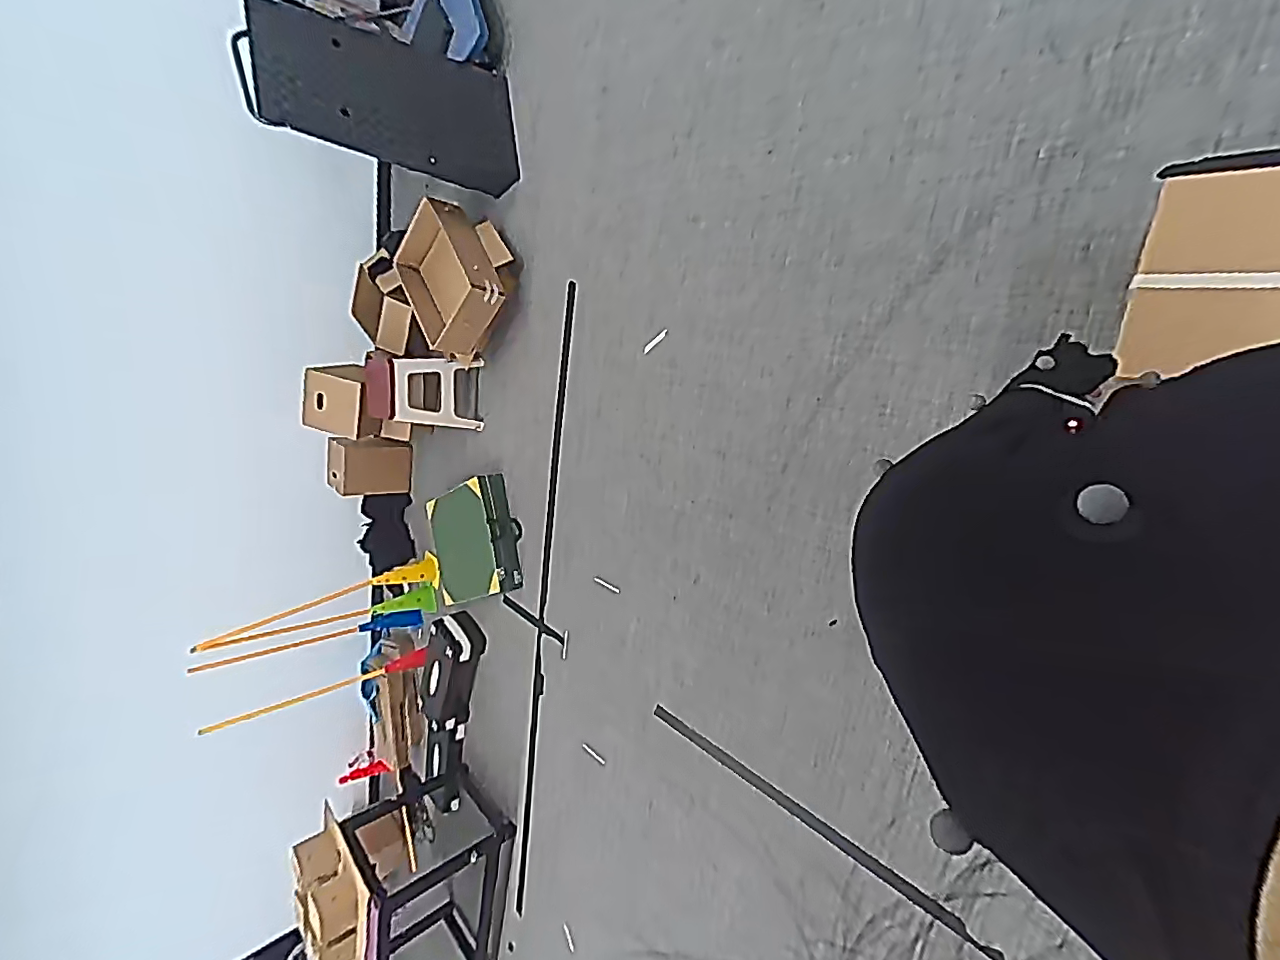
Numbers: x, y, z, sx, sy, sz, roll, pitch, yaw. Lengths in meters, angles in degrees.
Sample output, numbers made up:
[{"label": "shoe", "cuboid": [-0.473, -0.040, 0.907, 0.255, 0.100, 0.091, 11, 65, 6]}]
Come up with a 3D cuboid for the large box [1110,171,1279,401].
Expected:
[{"label": "large box", "cuboid": [1.061, -0.291, 0.873, 0.408, 0.320, 0.320, 18, 107, 41]}]
